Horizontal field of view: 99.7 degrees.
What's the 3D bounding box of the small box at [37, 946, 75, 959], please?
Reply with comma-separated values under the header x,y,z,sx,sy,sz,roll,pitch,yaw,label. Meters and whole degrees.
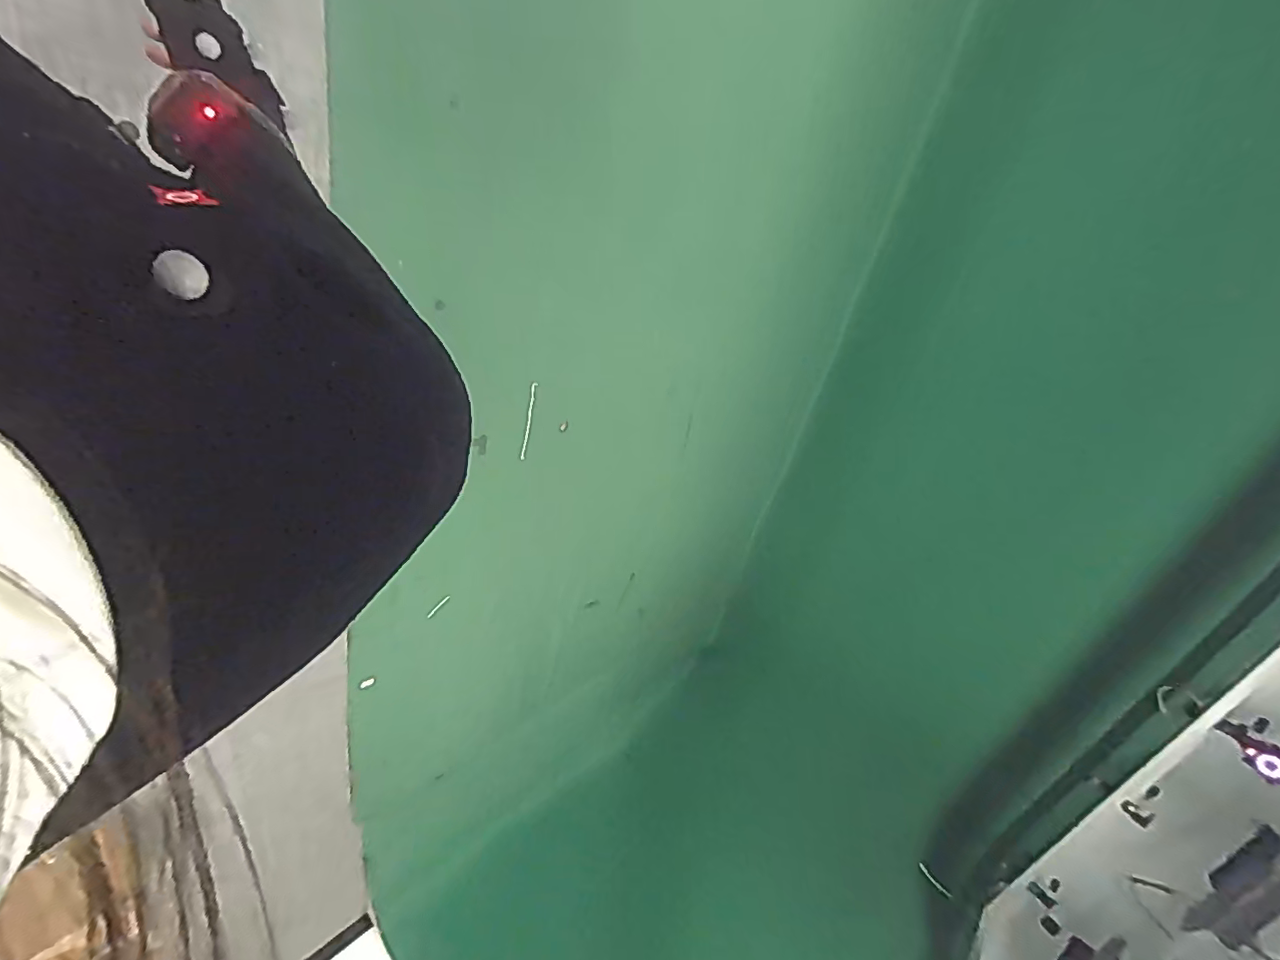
x,y,z,sx,sy,sz,roll,pitch,yaw,label
-1.444,1.273,1.280,0.179,0.176,0.168,-20,133,-41,small box
